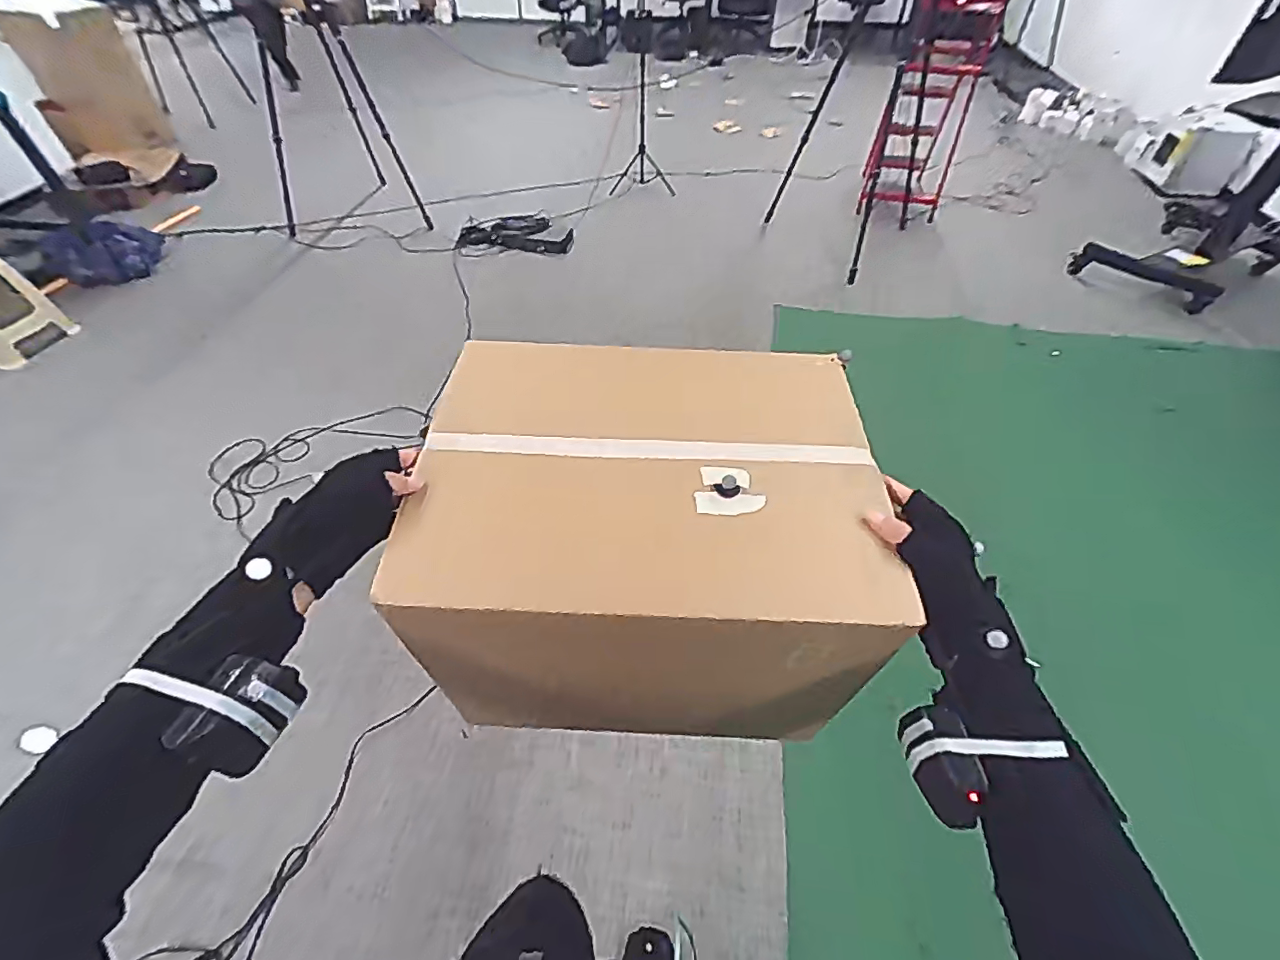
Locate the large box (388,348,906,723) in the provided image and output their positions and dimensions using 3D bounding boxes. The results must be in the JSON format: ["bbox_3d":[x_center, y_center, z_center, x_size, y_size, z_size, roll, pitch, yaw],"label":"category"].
[{"bbox_3d":[0.003,0.071,0.615,0.408,0.320,0.320,2,51,0],"label":"large box"}]
